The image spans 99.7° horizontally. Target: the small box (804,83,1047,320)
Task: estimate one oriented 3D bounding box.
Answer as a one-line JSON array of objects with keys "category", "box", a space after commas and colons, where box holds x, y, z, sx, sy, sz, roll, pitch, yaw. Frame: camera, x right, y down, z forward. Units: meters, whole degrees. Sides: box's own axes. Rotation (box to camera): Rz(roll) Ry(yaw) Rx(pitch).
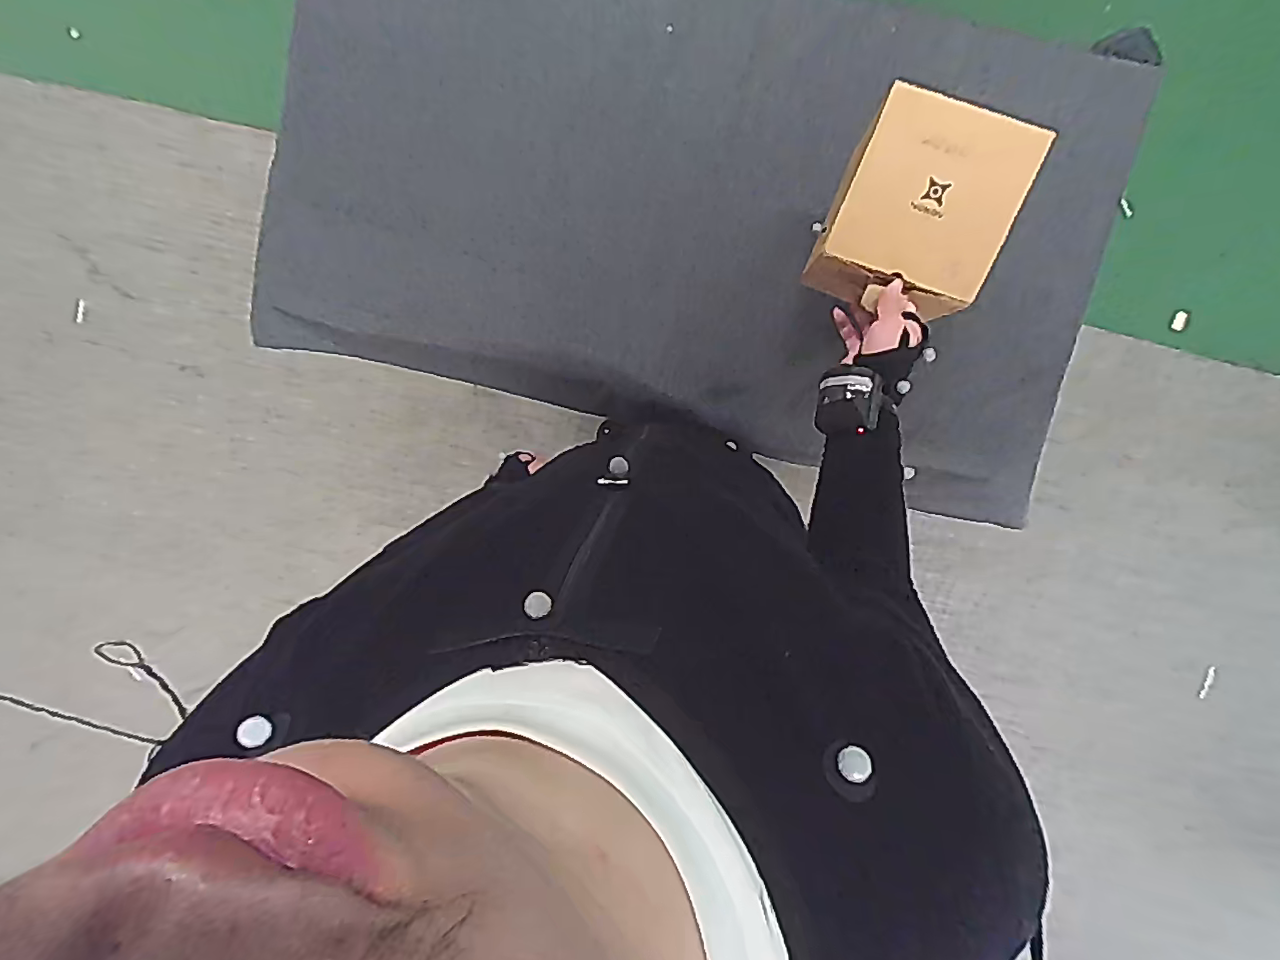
[{"category": "small box", "box": [0.307, -0.302, 0.631, 0.168, 0.176, 0.179, 22, 100, 2]}]
